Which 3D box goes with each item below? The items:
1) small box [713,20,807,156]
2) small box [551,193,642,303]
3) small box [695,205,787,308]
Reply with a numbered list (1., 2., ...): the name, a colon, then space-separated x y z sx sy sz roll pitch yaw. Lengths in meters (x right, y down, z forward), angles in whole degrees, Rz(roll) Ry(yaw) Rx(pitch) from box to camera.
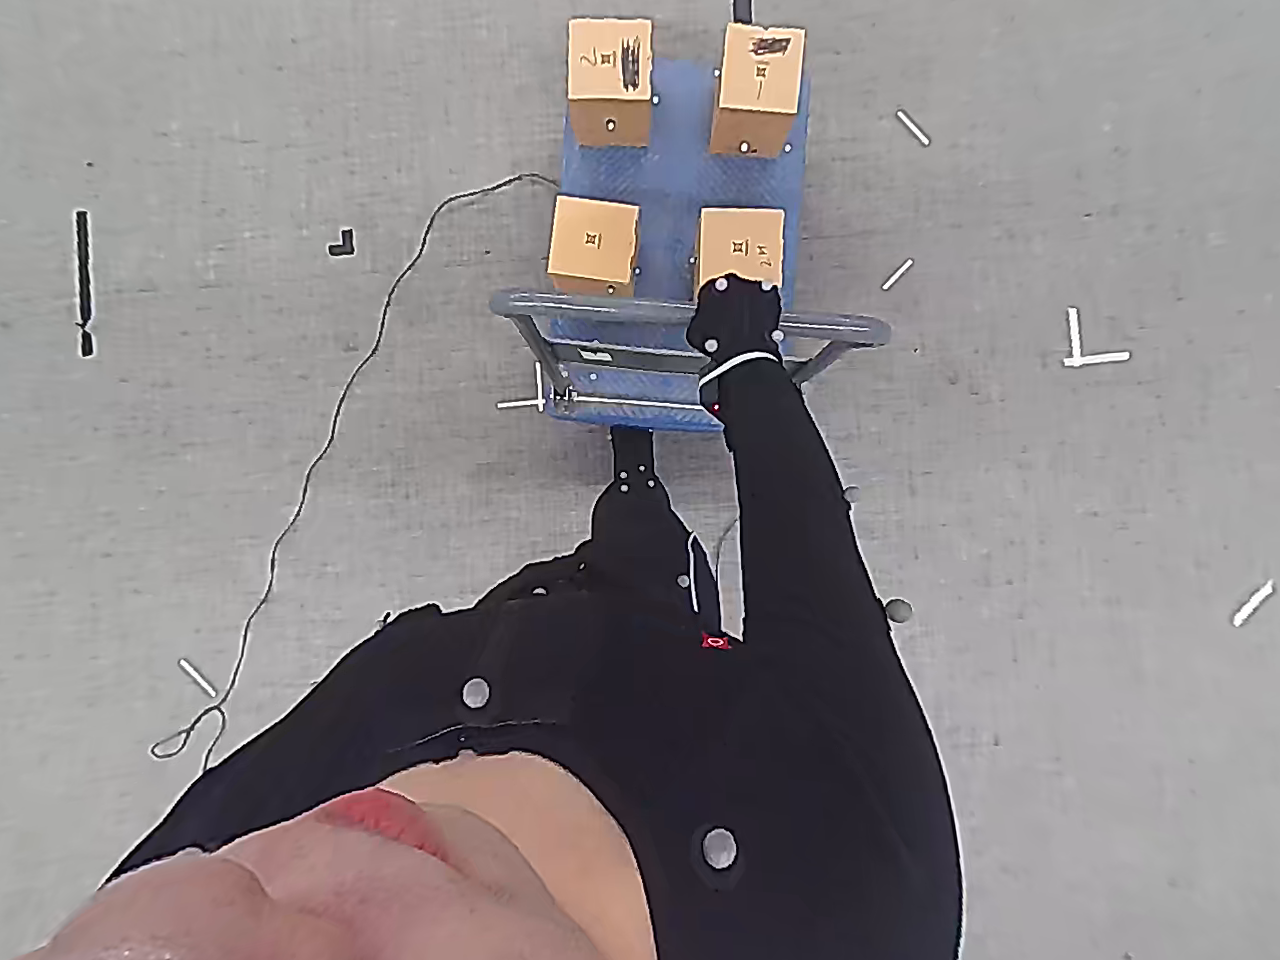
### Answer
1. small box: 0.258 -0.860 1.198 0.168 0.176 0.179 5 92 0
2. small box: -0.092 -0.509 1.209 0.179 0.176 0.168 7 91 -1
3. small box: 0.217 -0.490 1.206 0.179 0.176 0.168 2 91 1
